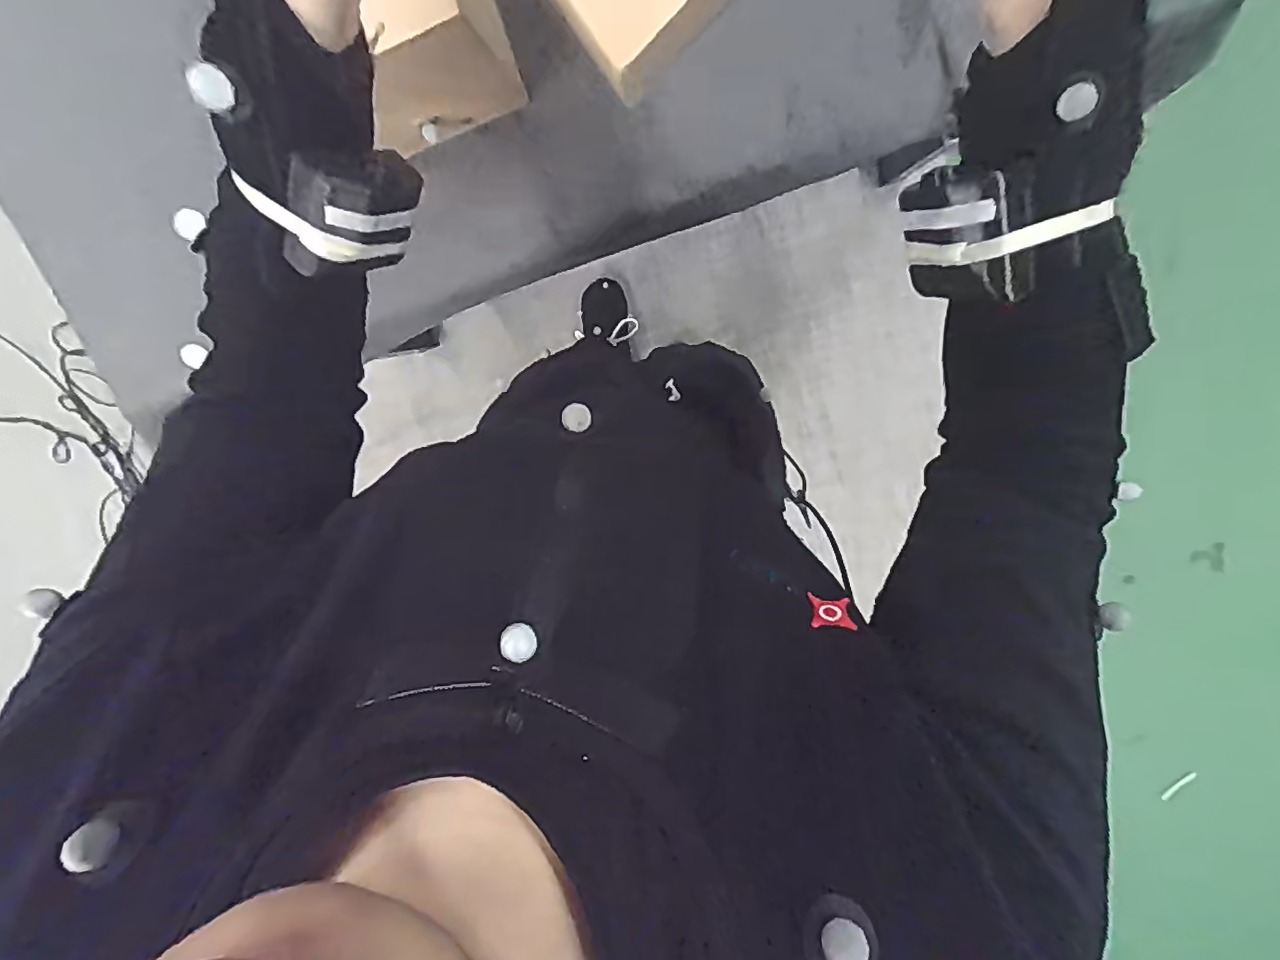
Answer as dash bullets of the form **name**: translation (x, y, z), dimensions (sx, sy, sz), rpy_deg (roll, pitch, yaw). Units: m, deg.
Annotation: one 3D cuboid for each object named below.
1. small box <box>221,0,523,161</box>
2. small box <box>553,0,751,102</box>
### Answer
- **small box**: translation (-0.218, -0.401, 0.444), dimensions (0.168, 0.176, 0.179), rpy_deg (-17, 105, 10)
- **small box**: translation (0.010, -0.300, 0.223), dimensions (0.179, 0.176, 0.168), rpy_deg (-36, 113, 20)
